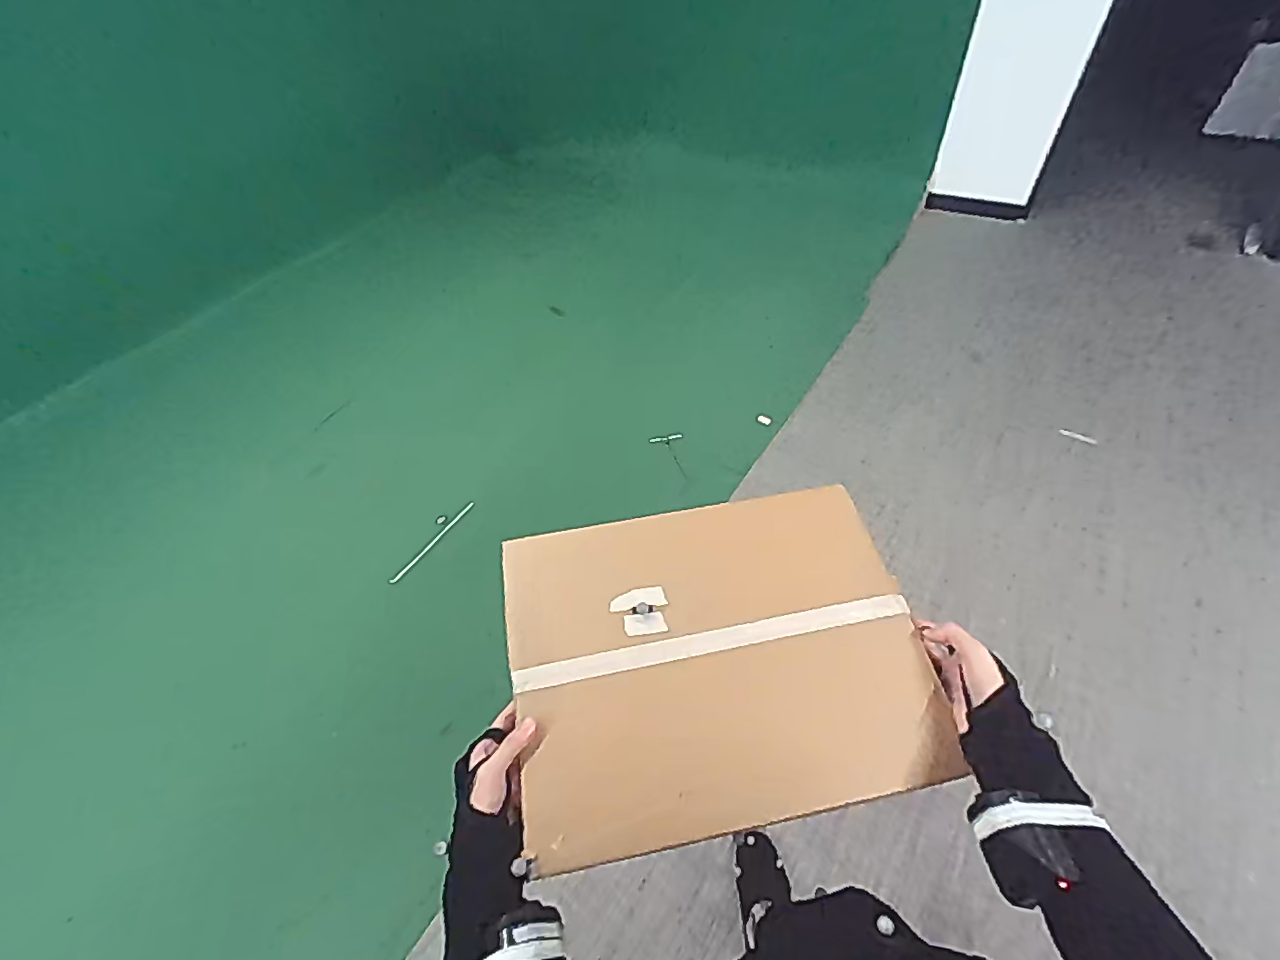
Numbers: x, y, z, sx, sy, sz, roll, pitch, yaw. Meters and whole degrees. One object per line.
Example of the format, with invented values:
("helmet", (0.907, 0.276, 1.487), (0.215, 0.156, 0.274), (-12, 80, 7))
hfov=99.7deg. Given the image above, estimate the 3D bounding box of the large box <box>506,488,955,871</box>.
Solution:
("large box", (0.074, 0.248, 0.684), (0.408, 0.320, 0.320), (-10, 58, -6))
